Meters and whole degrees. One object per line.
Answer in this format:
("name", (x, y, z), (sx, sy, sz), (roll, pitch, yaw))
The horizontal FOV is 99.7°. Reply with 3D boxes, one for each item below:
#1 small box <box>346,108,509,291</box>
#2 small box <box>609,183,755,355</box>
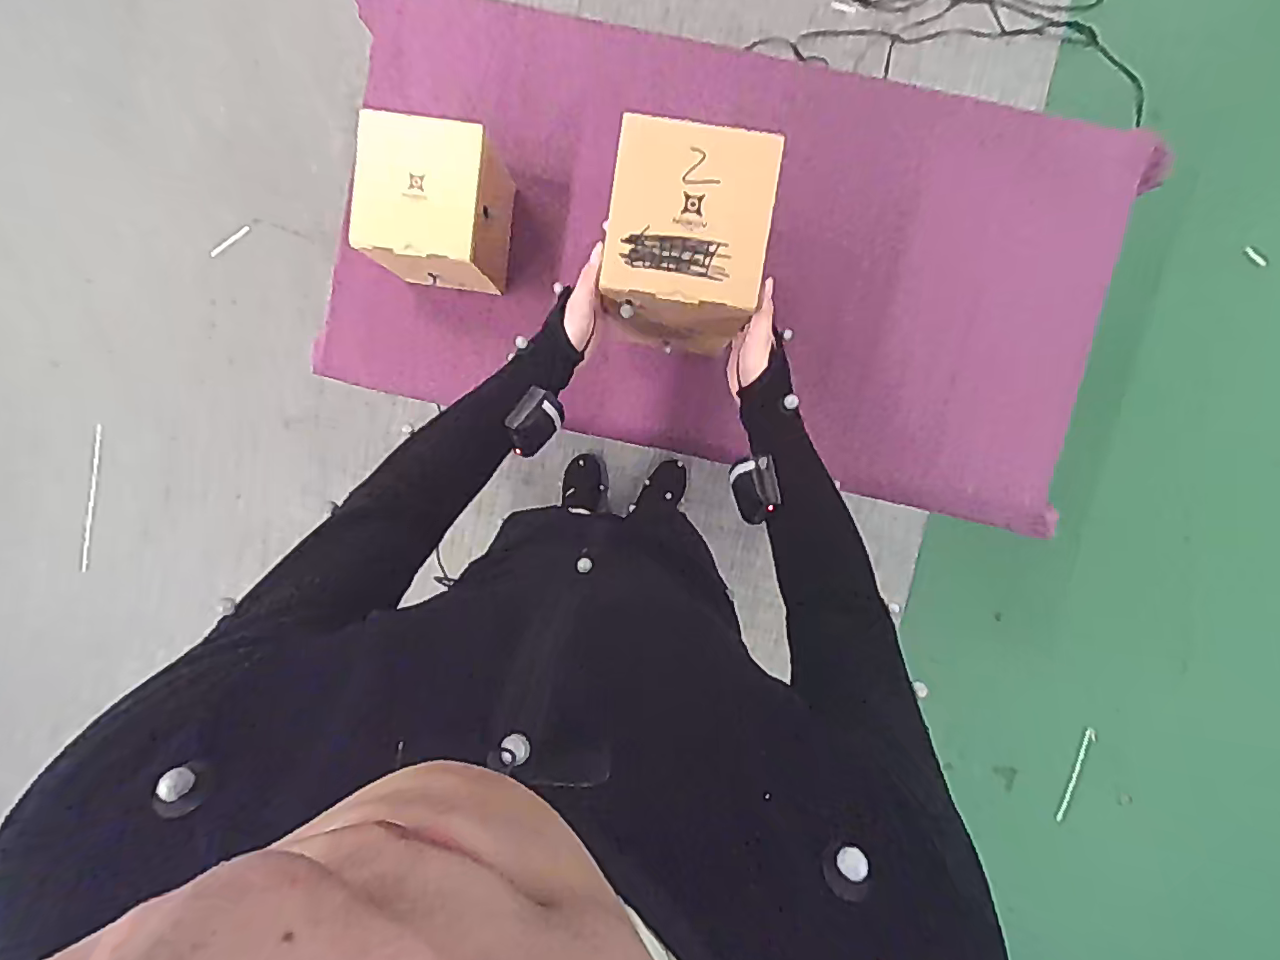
("small box", (-0.295, -0.392, 0.784), (0.168, 0.176, 0.179), (8, 96, 0))
("small box", (0.056, -0.292, 0.783), (0.168, 0.176, 0.179), (11, 95, 1))
